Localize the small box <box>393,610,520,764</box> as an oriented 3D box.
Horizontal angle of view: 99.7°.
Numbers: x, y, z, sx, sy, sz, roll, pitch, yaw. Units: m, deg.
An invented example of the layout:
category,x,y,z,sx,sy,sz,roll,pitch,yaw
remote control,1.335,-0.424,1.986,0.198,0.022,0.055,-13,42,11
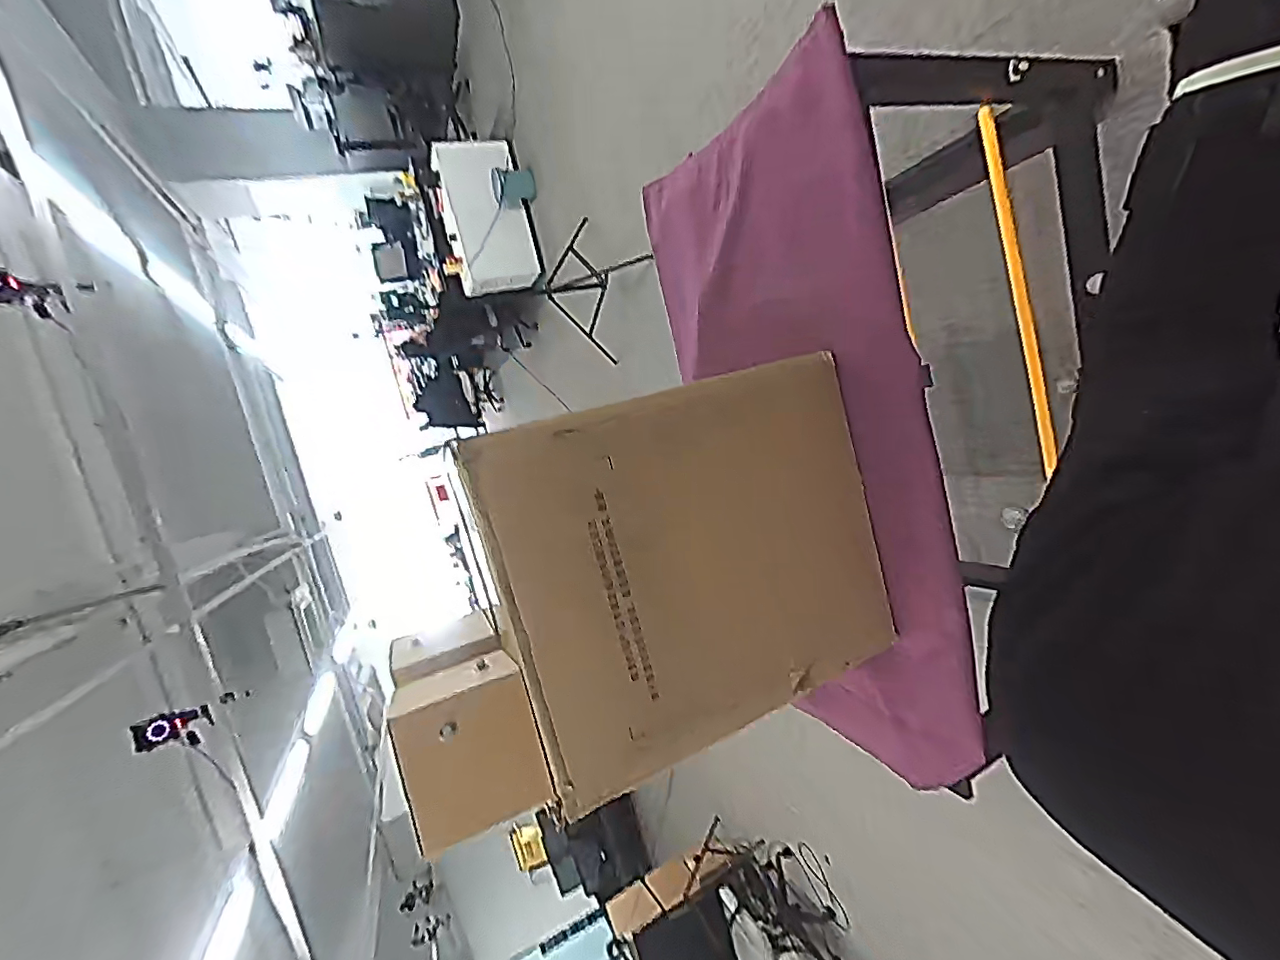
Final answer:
category,x,y,z,sx,sy,sz,roll,pitch,yaw
small box,-0.319,0.346,0.945,0.179,0.176,0.168,6,110,67
